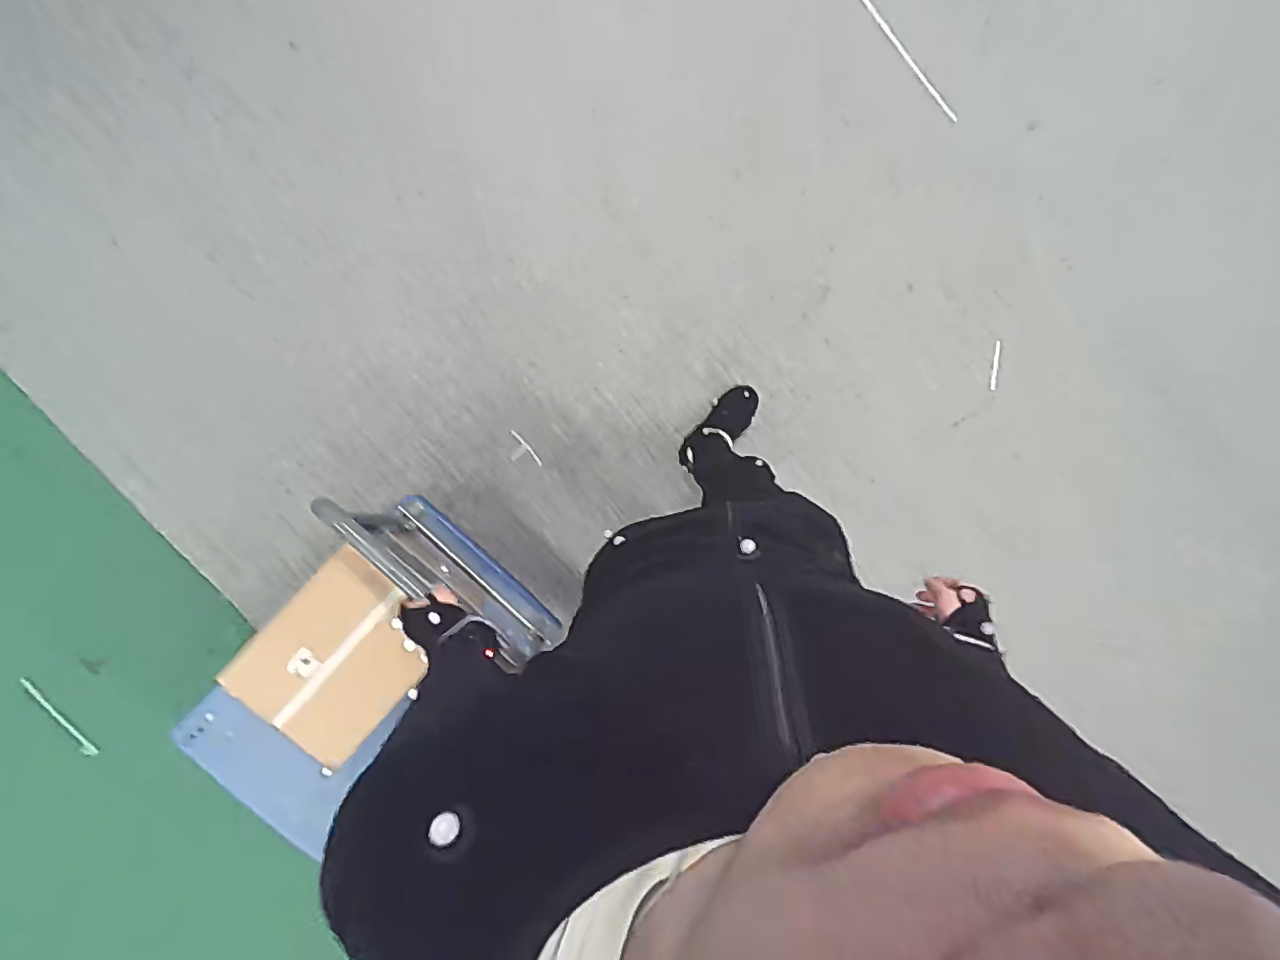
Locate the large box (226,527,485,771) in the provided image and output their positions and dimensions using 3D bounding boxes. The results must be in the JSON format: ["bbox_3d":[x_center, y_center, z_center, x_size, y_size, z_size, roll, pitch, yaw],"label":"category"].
[{"bbox_3d":[-0.637,0.369,1.294,0.320,0.320,0.408,42,85,-4],"label":"large box"}]
